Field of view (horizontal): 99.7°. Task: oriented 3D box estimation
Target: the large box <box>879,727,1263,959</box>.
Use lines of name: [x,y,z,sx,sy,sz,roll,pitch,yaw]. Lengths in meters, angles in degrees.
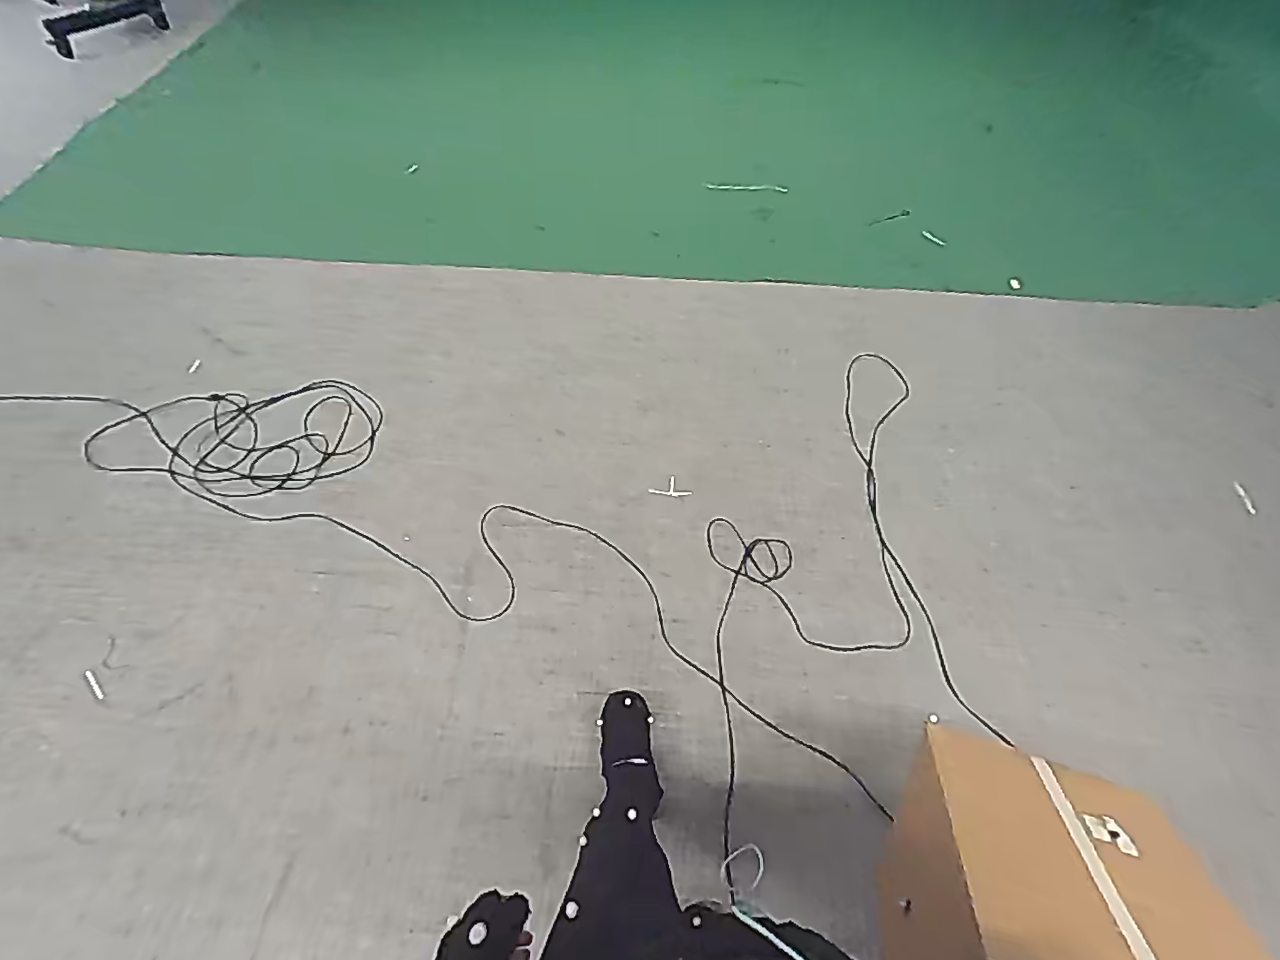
large box: [0.520,0.618,0.700,0.320,0.408,0.320,15,104,17]
